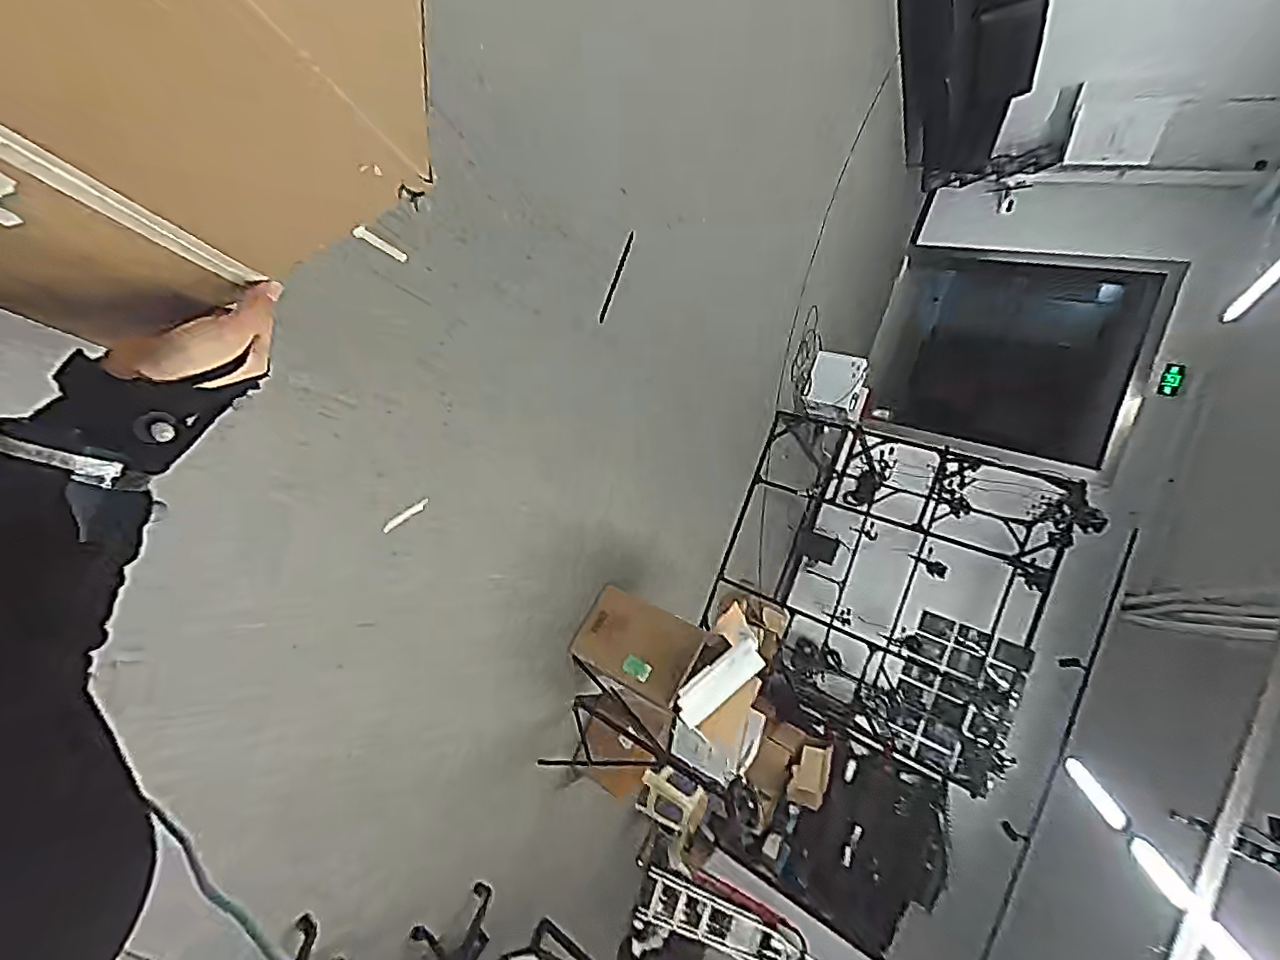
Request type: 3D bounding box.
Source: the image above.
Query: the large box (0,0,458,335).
[{"bbox_3d":[-0.353,-0.342,0.256,0.408,0.320,0.320,30,47,-62],"label":"large box"}]
